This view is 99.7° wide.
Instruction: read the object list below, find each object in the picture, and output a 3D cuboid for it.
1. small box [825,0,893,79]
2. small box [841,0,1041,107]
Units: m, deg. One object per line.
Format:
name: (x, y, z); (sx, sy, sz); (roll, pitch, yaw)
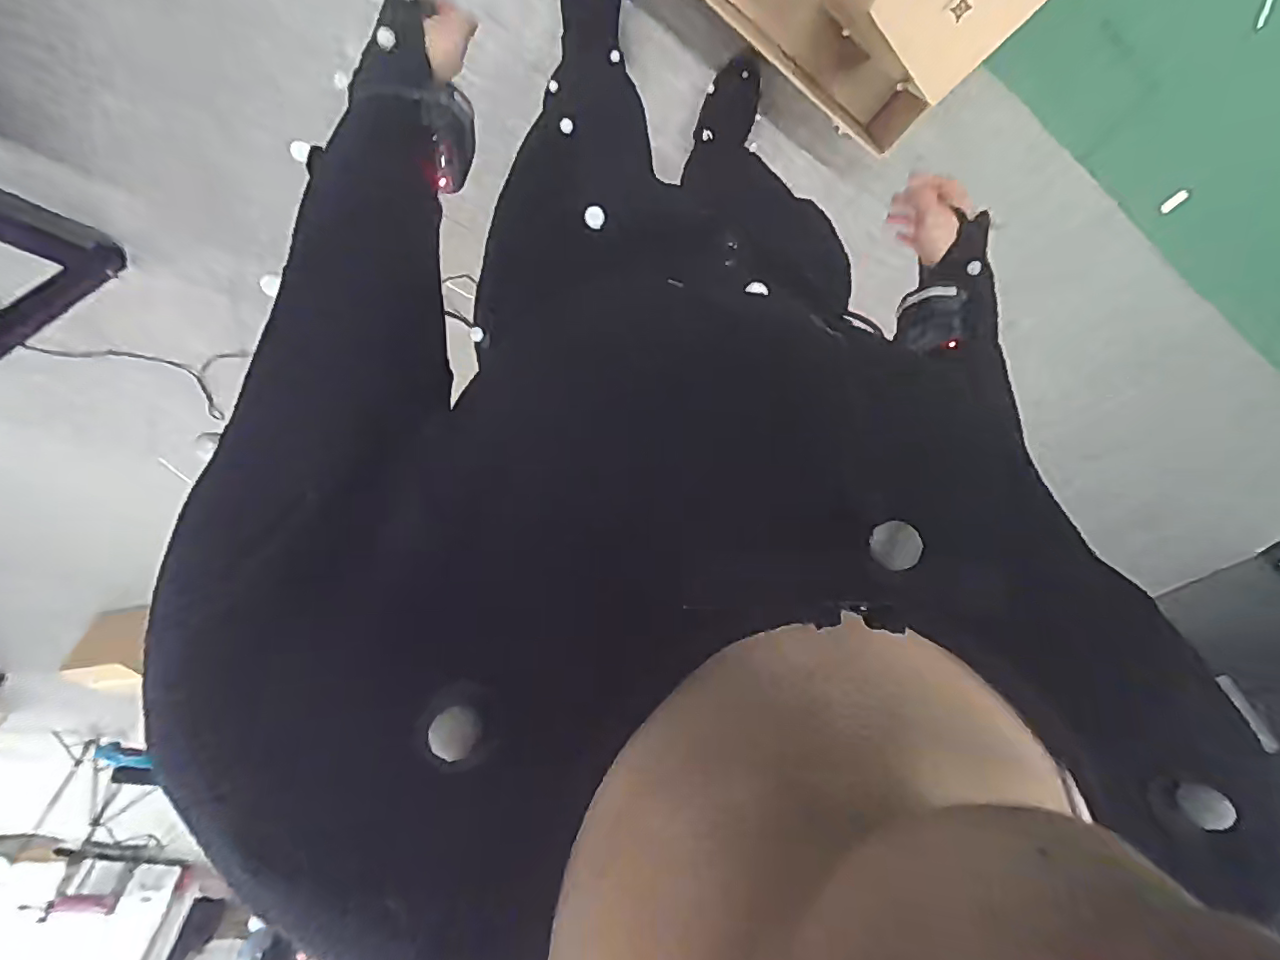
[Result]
small box: (0.419, -0.813, 0.876); (0.168, 0.176, 0.179); (30, 131, -28)
small box: (0.415, -0.689, 0.768); (0.179, 0.176, 0.168); (31, 130, -28)
